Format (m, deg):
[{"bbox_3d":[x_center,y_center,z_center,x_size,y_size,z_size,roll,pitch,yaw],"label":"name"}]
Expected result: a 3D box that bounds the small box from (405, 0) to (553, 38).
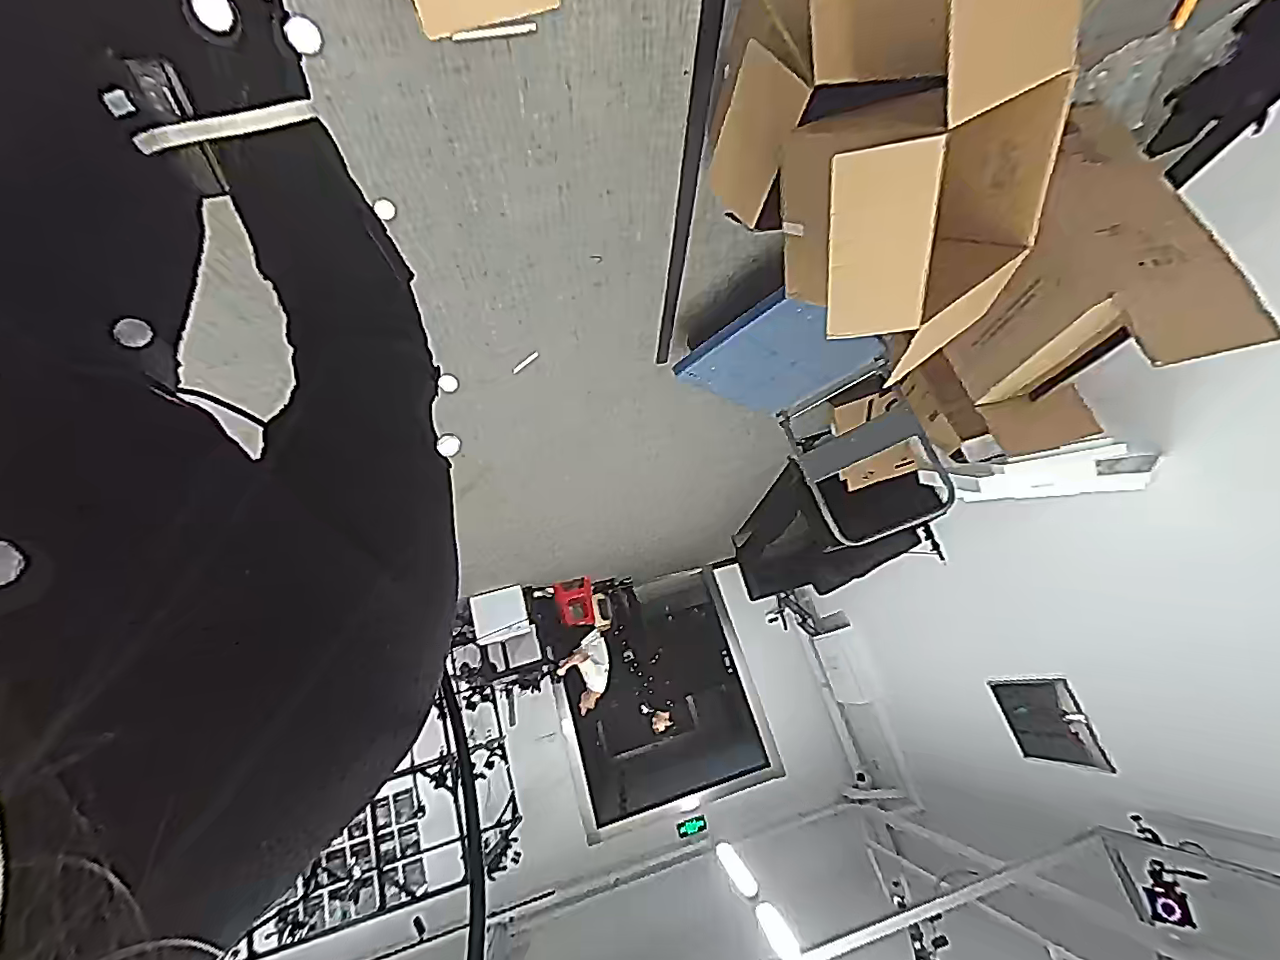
[{"bbox_3d":[-0.216,-0.673,0.630,0.179,0.176,0.168,-17,161,-4],"label":"small box"}]
